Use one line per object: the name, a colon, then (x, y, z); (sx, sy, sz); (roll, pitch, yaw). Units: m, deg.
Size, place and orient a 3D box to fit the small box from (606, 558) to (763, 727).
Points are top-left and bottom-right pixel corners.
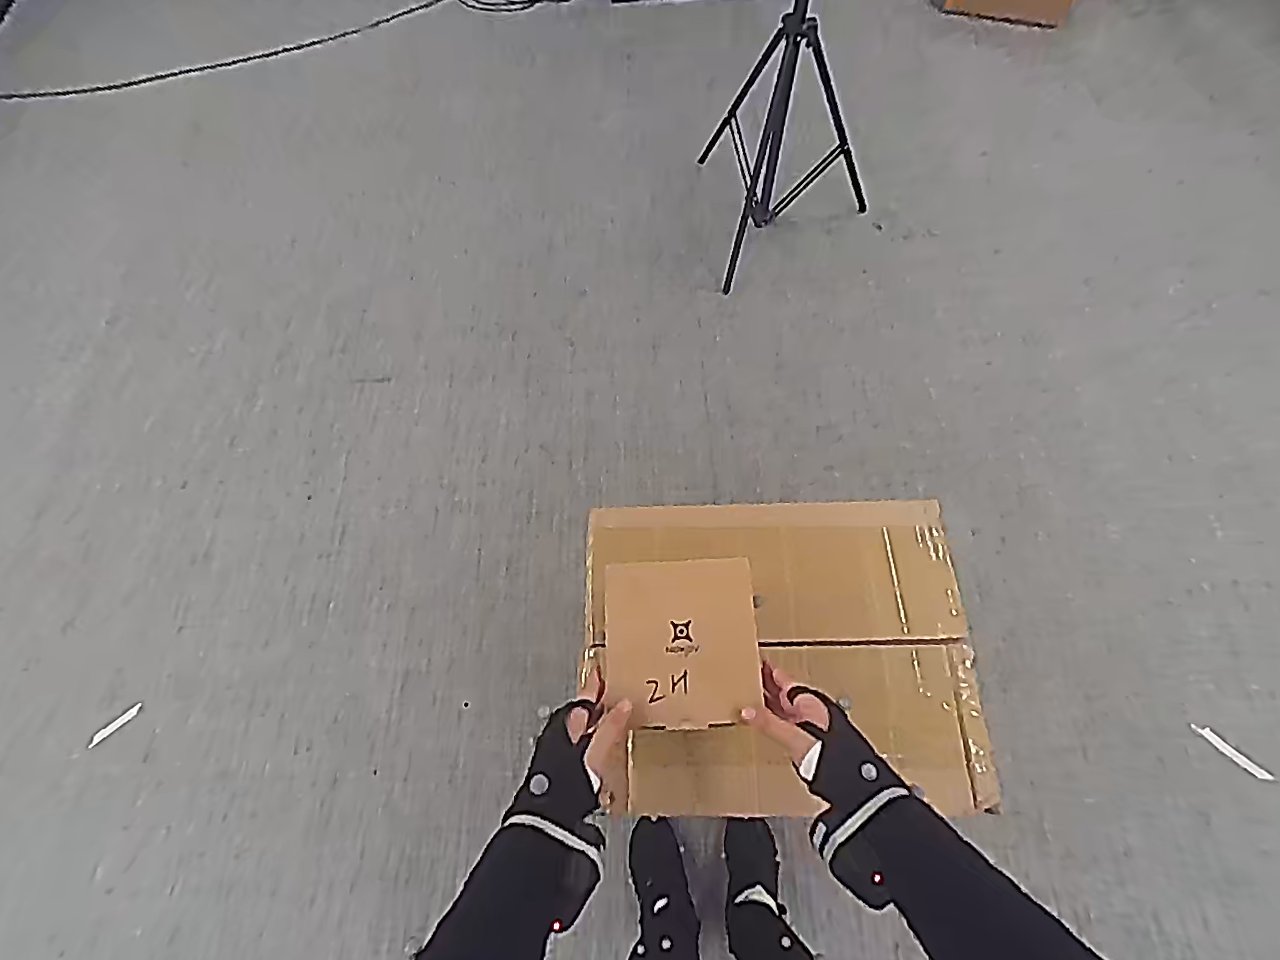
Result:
small box: (0.046, 0.202, 0.663); (0.168, 0.176, 0.179); (-3, 69, 2)
